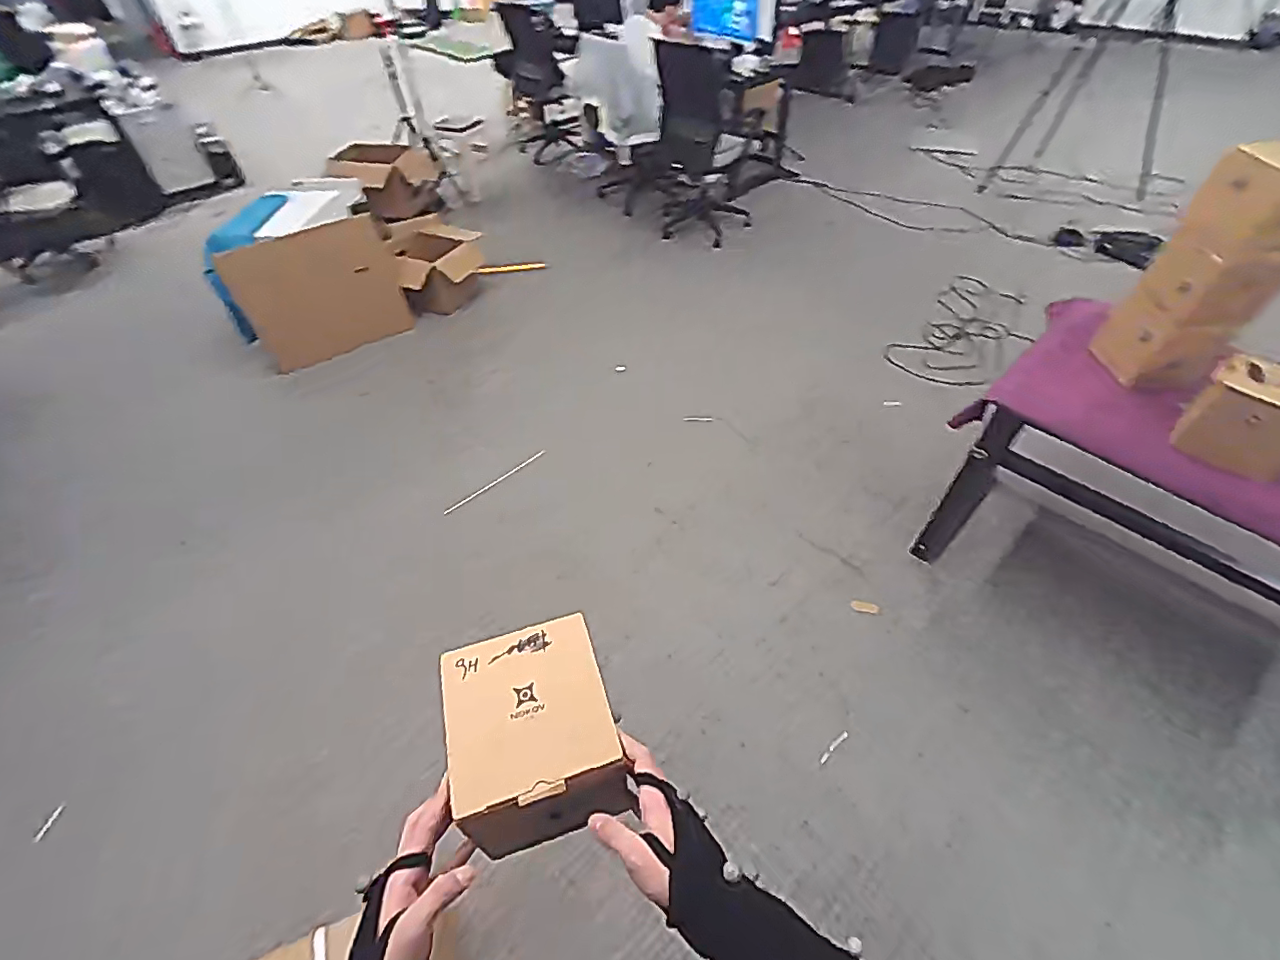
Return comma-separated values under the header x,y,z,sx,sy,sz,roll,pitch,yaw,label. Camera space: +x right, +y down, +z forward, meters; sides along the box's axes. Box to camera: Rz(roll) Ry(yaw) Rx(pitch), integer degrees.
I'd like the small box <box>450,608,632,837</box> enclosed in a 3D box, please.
x,y,z,sx,sy,sz,roll,pitch,yaw,label
-0.109,0.282,0.621,0.168,0.176,0.179,-13,47,-12,small box

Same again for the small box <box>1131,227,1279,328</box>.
x,y,z,sx,sy,sz,roll,pitch,yaw,label
1.282,-0.462,1.231,0.179,0.176,0.168,-2,50,1,small box

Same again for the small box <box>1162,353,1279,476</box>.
x,y,z,sx,sy,sz,roll,pitch,yaw,label
1.292,-0.139,1.163,0.179,0.176,0.168,36,58,28,small box

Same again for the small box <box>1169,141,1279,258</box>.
x,y,z,sx,sy,sz,roll,pitch,yaw,label
1.275,-0.571,1.112,0.168,0.176,0.179,-4,50,0,small box

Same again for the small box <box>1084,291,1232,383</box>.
x,y,z,sx,sy,sz,roll,pitch,yaw,label
1.281,-0.356,1.355,0.168,0.176,0.179,-2,49,0,small box
